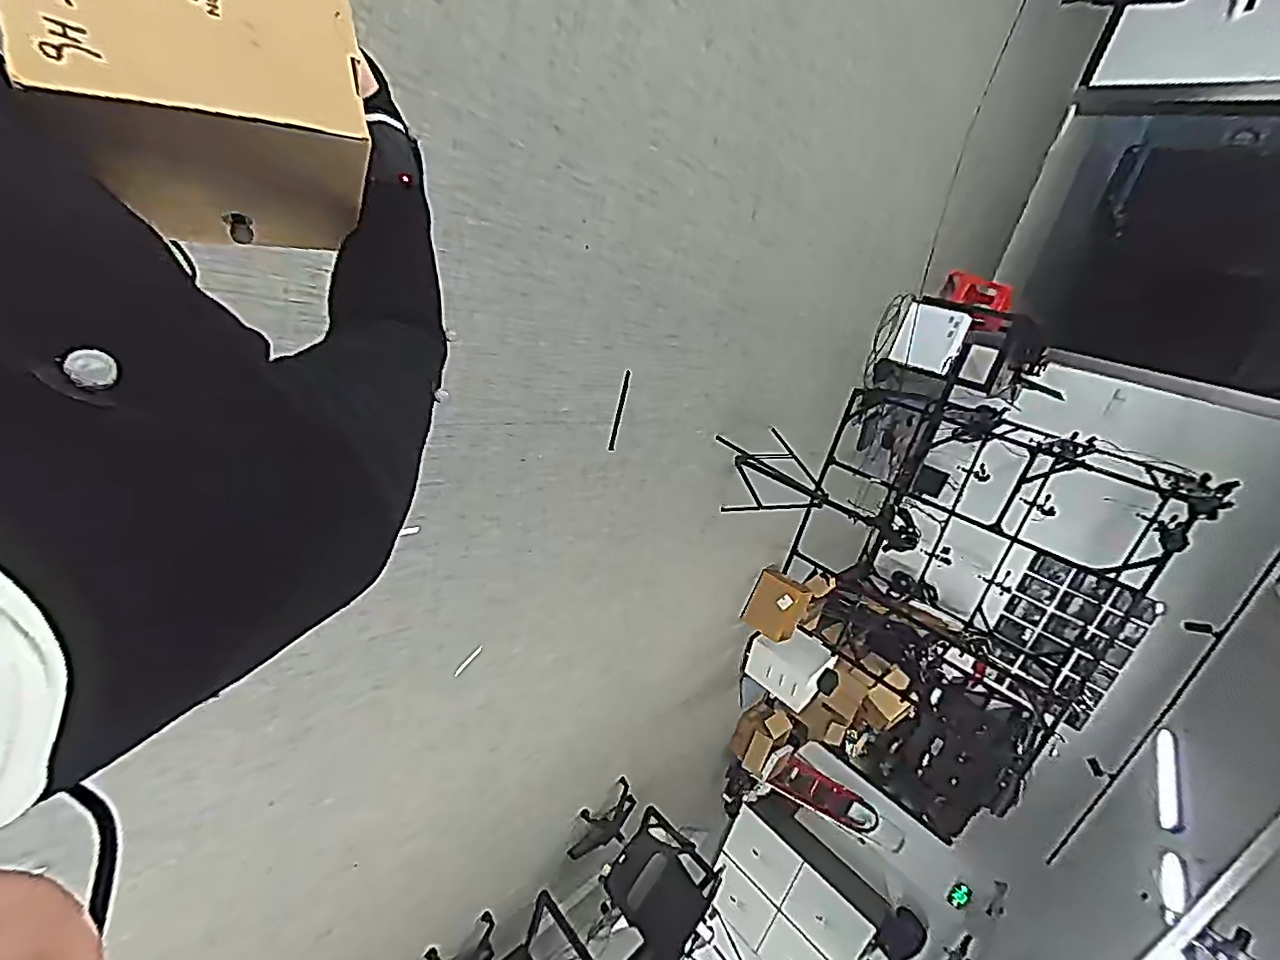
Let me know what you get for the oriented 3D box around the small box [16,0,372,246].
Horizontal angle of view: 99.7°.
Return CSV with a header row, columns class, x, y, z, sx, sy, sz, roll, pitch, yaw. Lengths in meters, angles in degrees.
class,x,y,z,sx,sy,sz,roll,pitch,yaw
small box,-0.325,-0.299,0.414,0.179,0.176,0.168,-11,89,-33
